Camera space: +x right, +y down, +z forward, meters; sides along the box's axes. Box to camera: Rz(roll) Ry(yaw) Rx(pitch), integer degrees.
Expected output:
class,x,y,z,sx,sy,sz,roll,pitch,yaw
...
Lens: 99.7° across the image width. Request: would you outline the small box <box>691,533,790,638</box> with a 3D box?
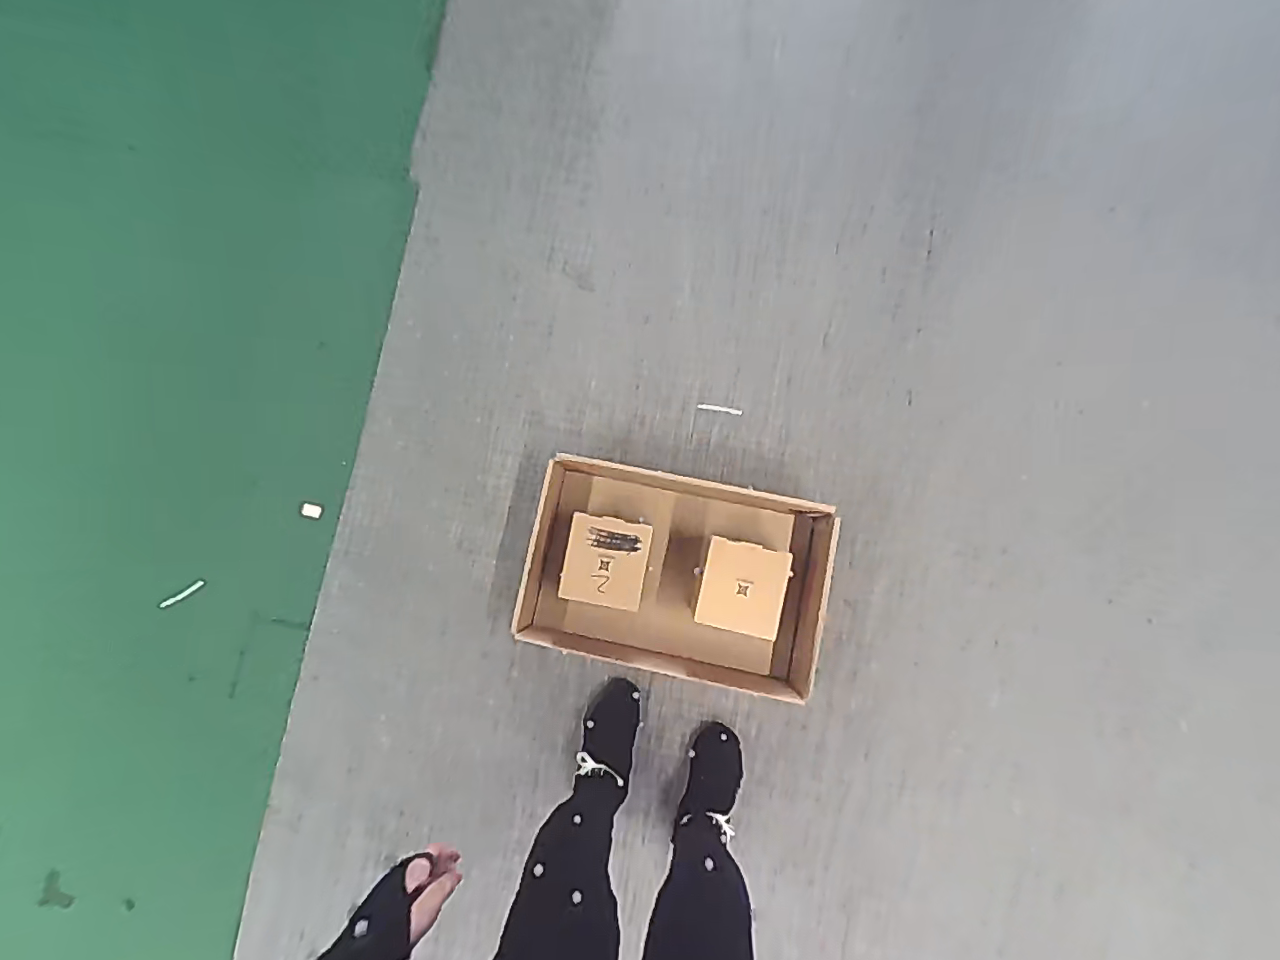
class,x,y,z,sx,sy,sz,roll,pitch,yaw
small box,0.206,0.218,1.152,0.168,0.176,0.179,13,84,5
